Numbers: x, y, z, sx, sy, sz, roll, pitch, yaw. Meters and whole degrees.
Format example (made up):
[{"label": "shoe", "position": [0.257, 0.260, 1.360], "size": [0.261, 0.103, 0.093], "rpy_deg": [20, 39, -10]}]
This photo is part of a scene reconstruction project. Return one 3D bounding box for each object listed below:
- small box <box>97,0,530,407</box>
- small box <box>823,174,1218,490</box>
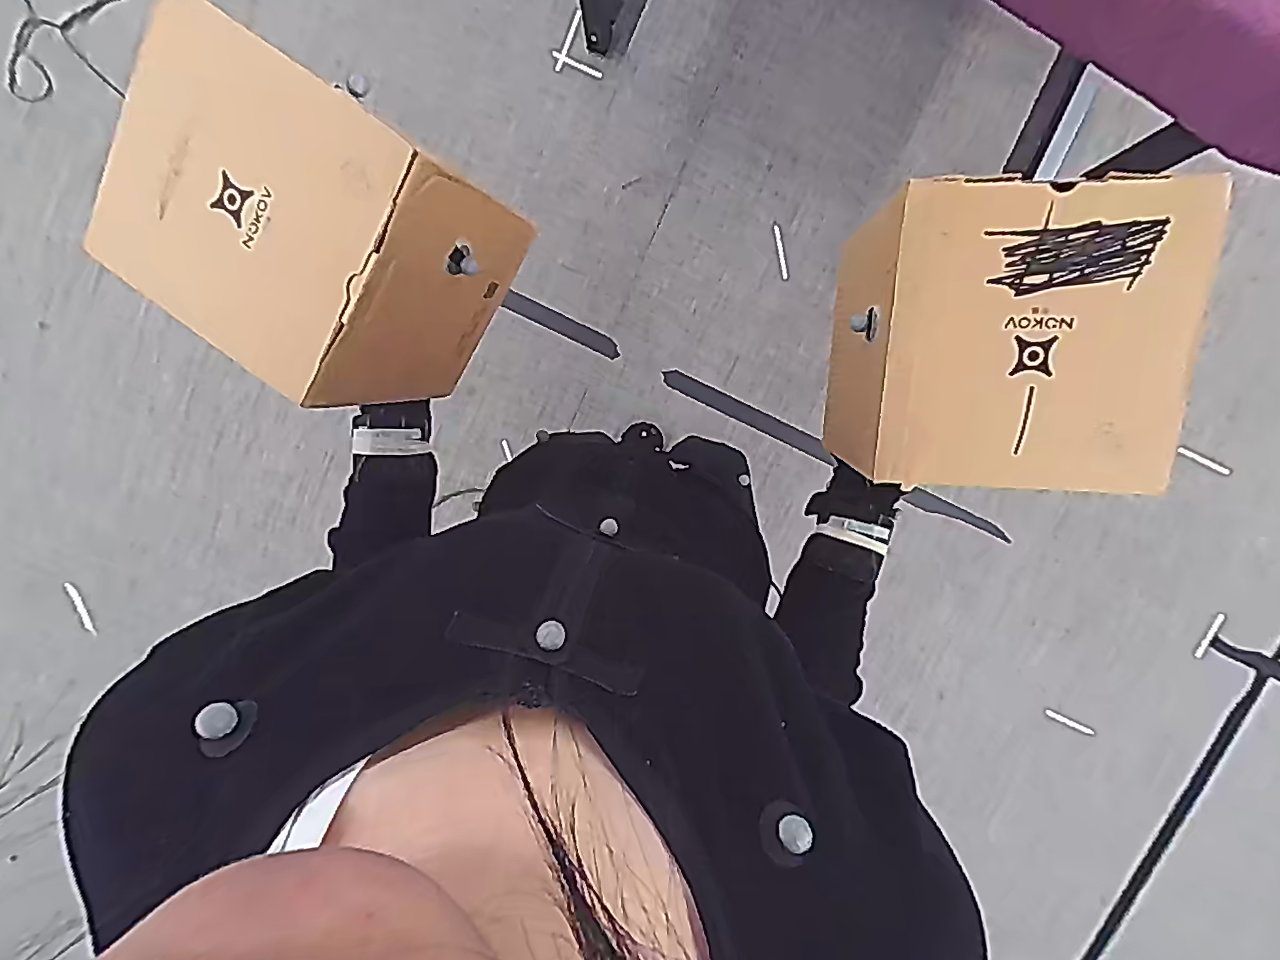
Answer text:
[{"label": "small box", "position": [-0.209, -0.172, 0.388], "size": [0.179, 0.176, 0.168], "rpy_deg": [35, 105, 4]}, {"label": "small box", "position": [0.238, -0.099, 0.394], "size": [0.168, 0.176, 0.179], "rpy_deg": [3, 102, 7]}]
